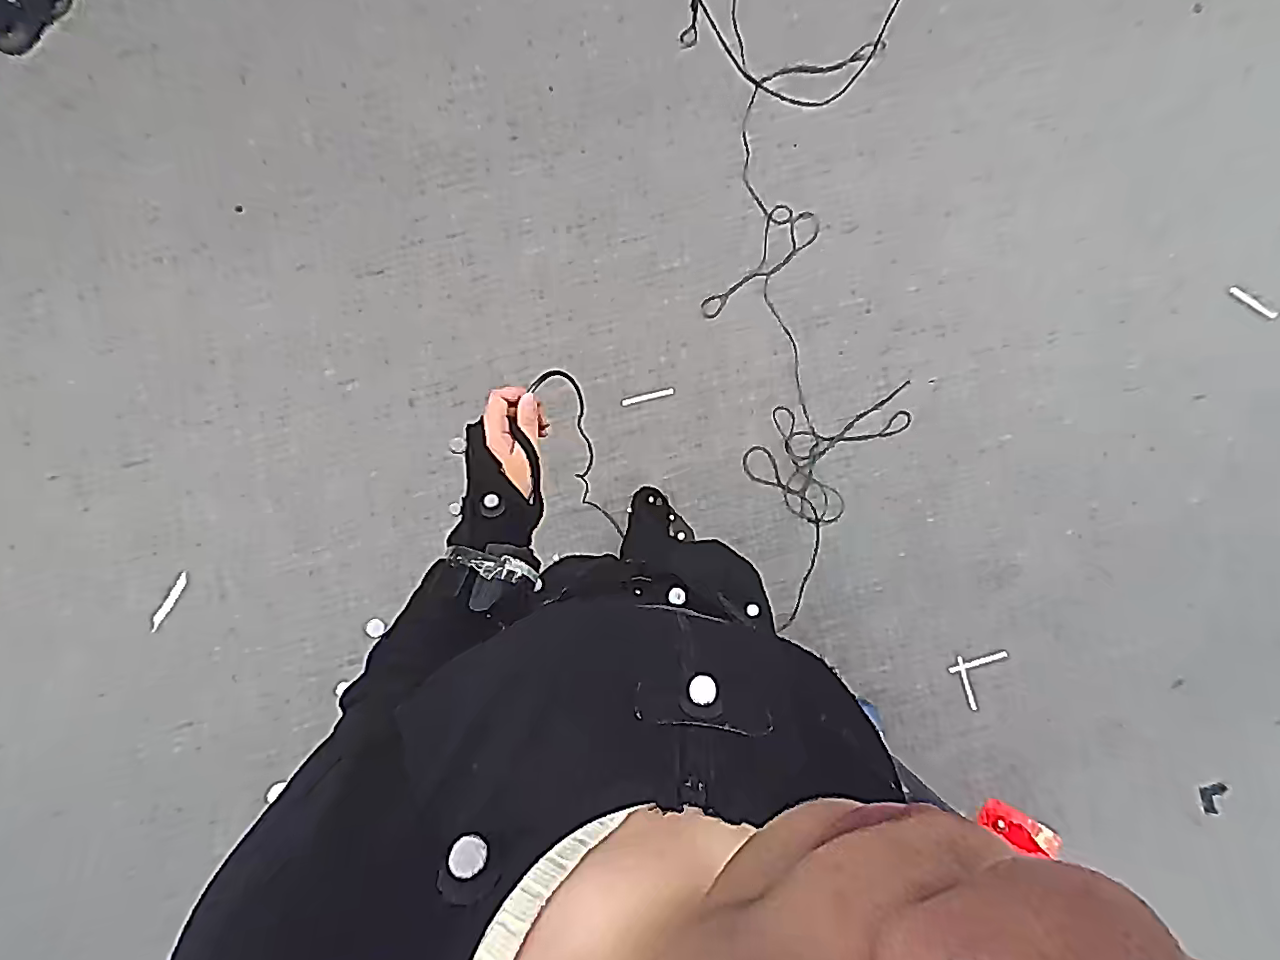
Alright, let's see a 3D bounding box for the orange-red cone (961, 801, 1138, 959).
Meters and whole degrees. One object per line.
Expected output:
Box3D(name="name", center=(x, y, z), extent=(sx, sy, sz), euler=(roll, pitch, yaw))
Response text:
Box3D(name="orange-red cone", center=(0.908, 0.908, 1.156), extent=(0.198, 0.360, 0.199), euler=(31, 88, 2))
